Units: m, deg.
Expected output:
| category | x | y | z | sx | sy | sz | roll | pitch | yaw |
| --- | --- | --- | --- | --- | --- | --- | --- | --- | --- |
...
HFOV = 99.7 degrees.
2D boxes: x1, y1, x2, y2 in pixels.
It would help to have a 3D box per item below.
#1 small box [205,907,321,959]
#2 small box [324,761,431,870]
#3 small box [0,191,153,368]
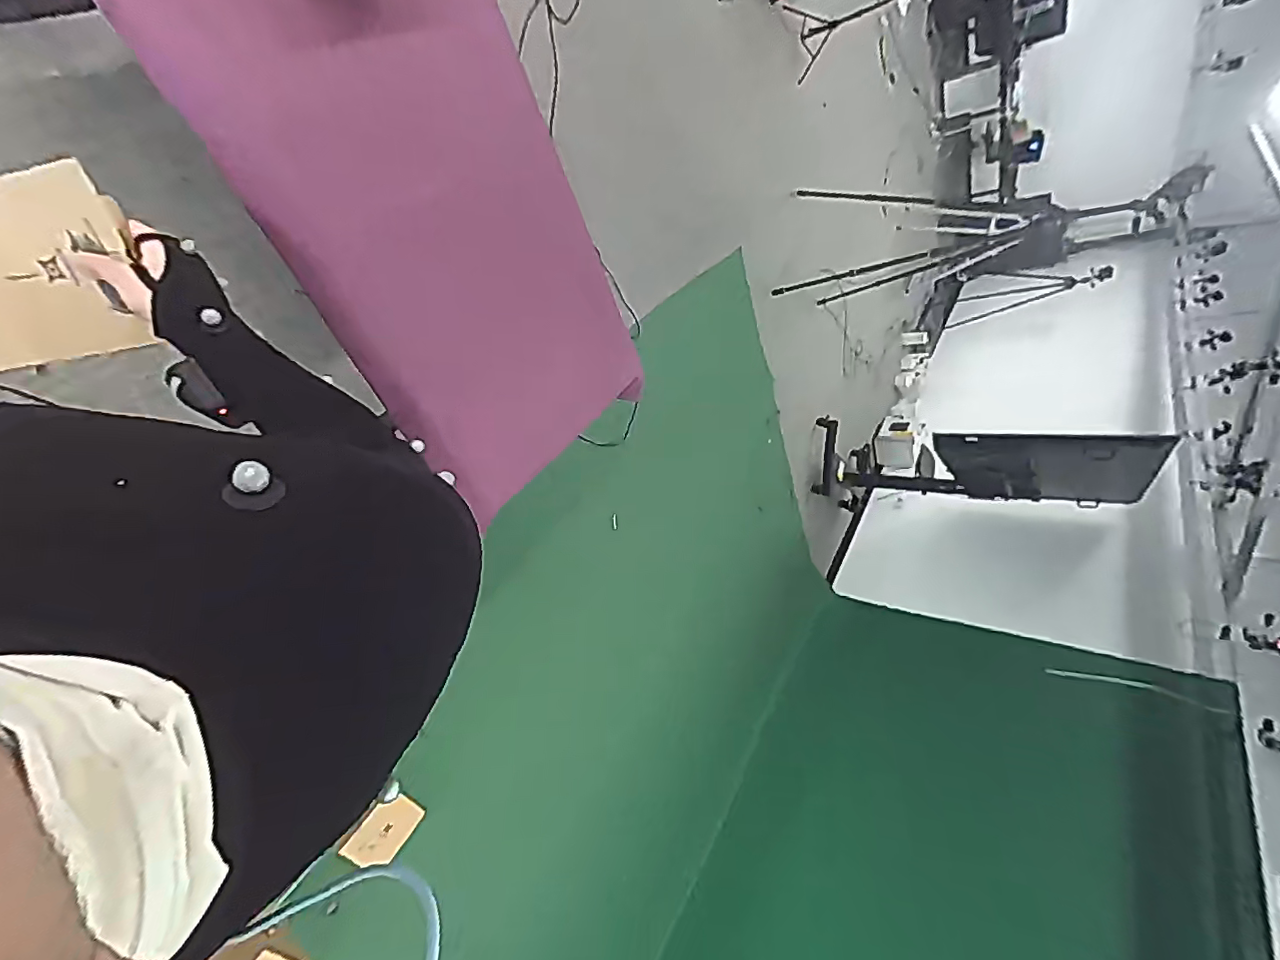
| category | x | y | z | sx | sy | sz | roll | pitch | yaw |
| --- | --- | --- | --- | --- | --- | --- | --- | --- | --- |
| small box | -0.916 | 1.175 | 1.294 | 0.168 | 0.176 | 0.179 | -50 | 130 | -34 |
| small box | -0.726 | 0.918 | 1.495 | 0.179 | 0.176 | 0.168 | -51 | 131 | -34 |
| small box | -0.726 | -0.218 | 0.605 | 0.176 | 0.179 | 0.168 | -12 | 115 | -4 |
